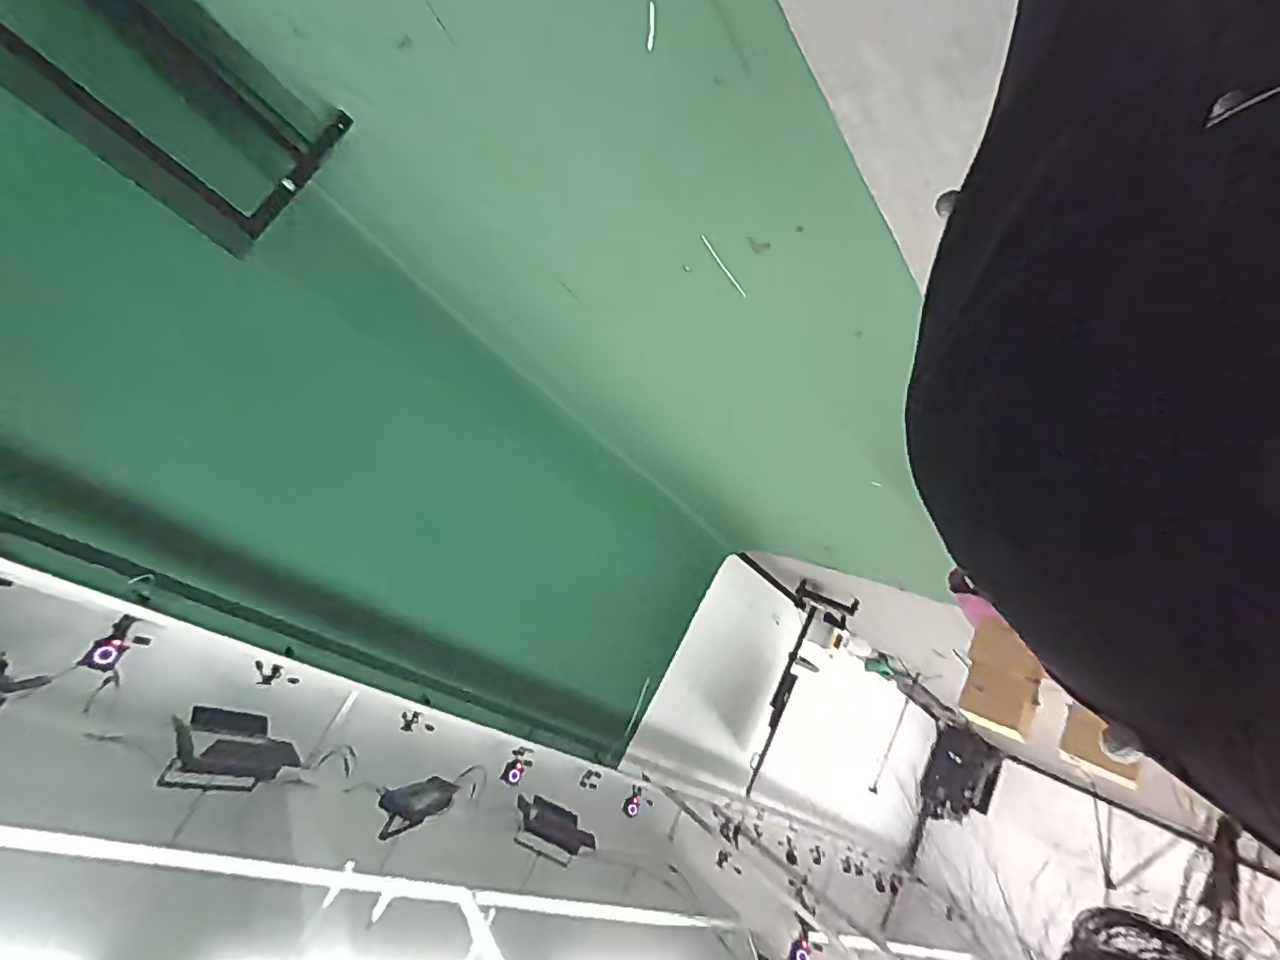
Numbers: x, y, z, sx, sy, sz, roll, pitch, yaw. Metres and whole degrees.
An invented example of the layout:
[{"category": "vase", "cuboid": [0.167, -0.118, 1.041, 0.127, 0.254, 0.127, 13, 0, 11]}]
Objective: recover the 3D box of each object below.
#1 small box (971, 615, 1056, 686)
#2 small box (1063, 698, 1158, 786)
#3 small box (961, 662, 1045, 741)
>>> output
[{"category": "small box", "cuboid": [1.266, 0.578, 1.829, 0.168, 0.176, 0.179, 38, 163, -31]}, {"category": "small box", "cuboid": [1.360, 0.750, 1.569, 0.179, 0.176, 0.168, 14, 160, 43]}, {"category": "small box", "cuboid": [1.200, 0.721, 1.783, 0.179, 0.176, 0.168, 11, 157, 49]}]
